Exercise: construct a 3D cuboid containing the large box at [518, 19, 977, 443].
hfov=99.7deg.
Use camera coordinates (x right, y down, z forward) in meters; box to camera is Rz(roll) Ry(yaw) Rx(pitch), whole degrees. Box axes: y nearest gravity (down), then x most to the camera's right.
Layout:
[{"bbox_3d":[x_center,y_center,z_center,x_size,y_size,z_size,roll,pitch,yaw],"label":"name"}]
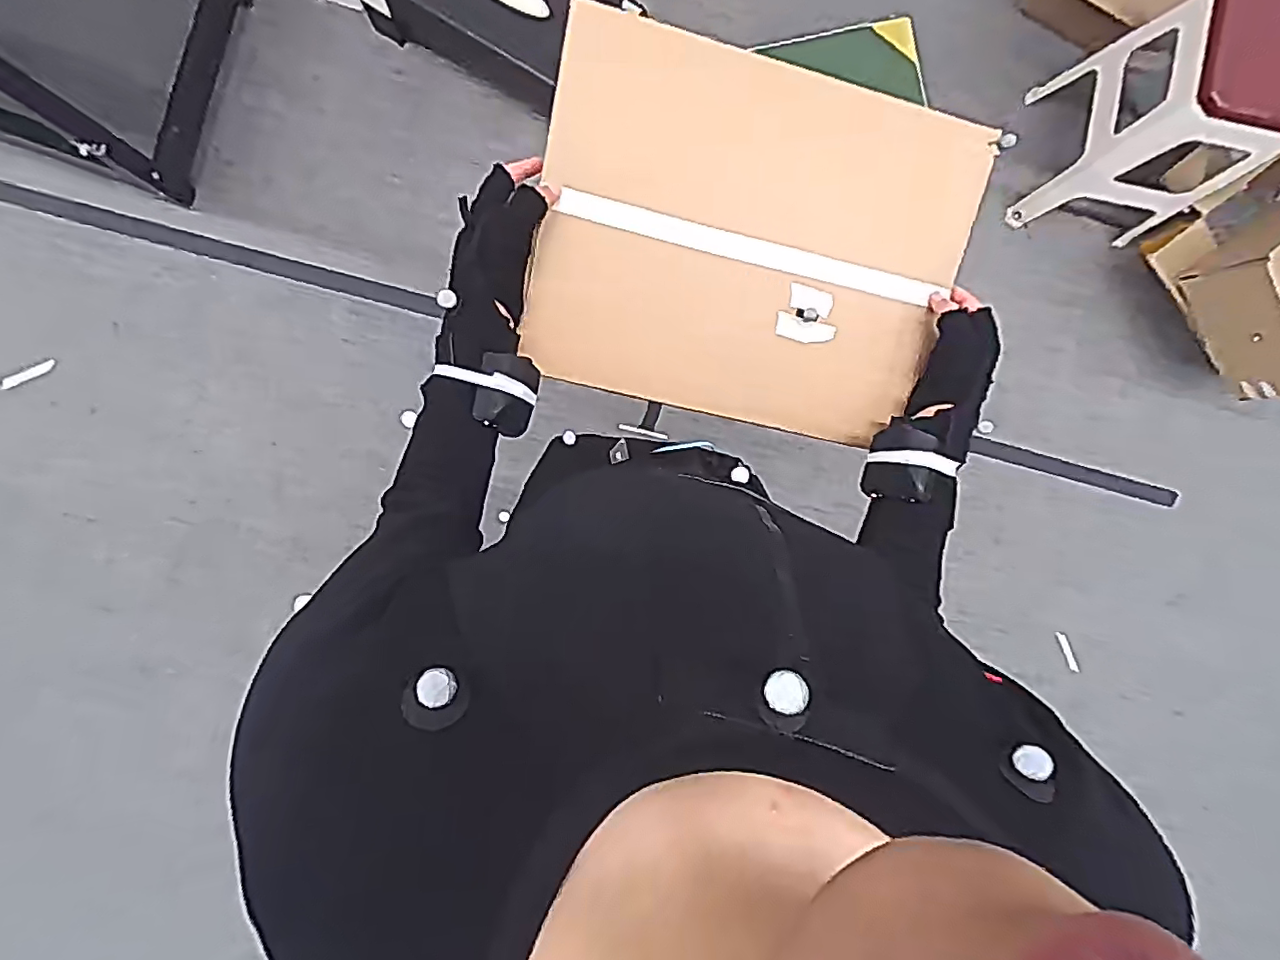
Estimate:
[{"bbox_3d":[0.088,-0.254,0.669,0.408,0.320,0.320,12,102,-8],"label":"large box"}]
